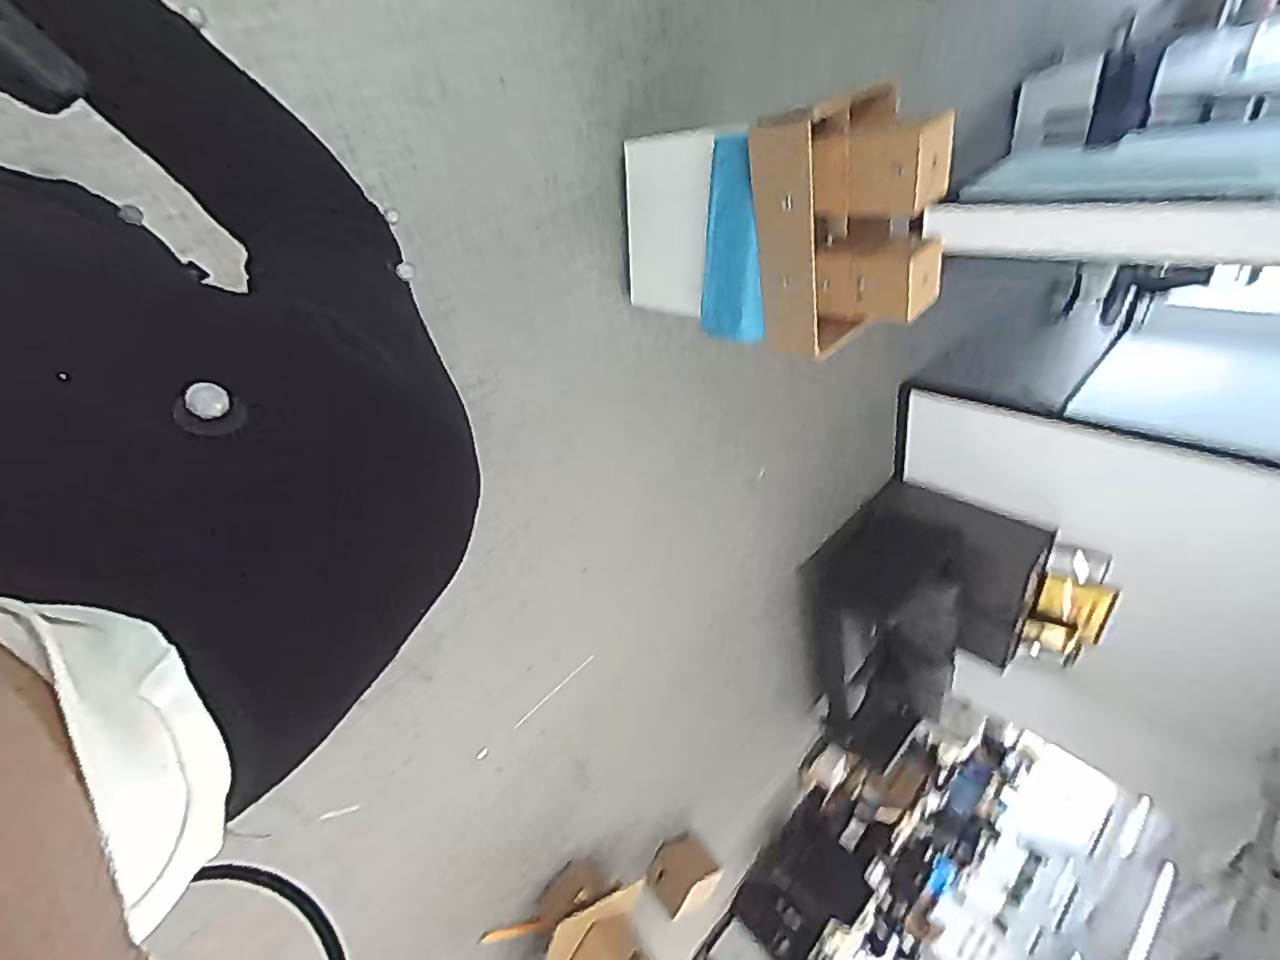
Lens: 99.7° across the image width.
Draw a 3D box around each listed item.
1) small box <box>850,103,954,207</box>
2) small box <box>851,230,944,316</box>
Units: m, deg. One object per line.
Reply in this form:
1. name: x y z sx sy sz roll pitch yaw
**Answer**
1. small box: 0.621 -0.770 1.296 0.168 0.176 0.179 -39 133 -24
2. small box: 0.694 -0.565 1.467 0.179 0.176 0.168 -39 130 -25
